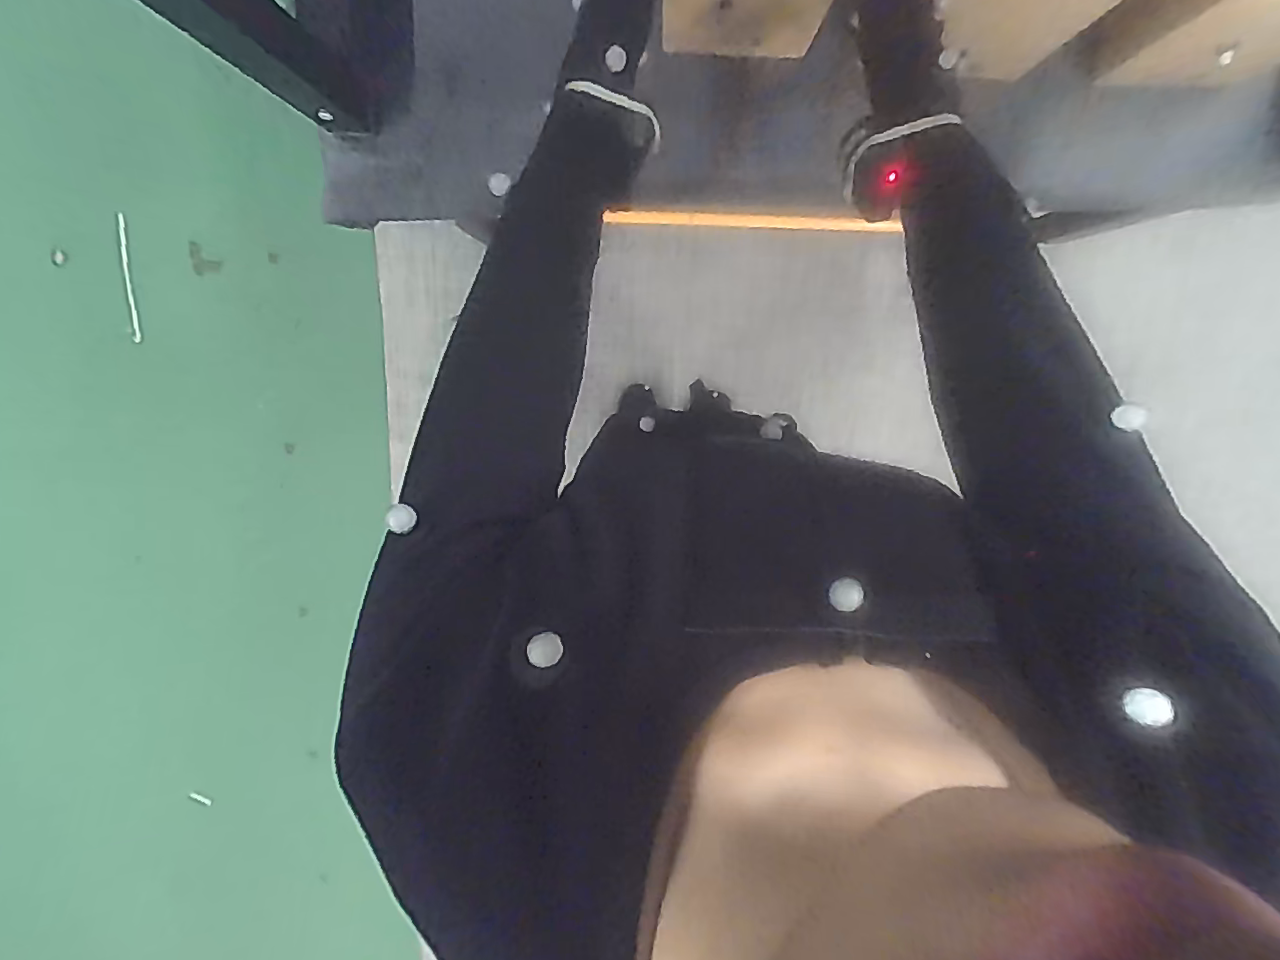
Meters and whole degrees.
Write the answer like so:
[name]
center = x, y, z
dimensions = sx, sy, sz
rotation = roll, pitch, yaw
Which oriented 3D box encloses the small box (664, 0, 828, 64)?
[small box]
center = 0.111, -0.556, 0.542
dimensions = 0.168, 0.176, 0.179
rotation = 3, 102, 0
